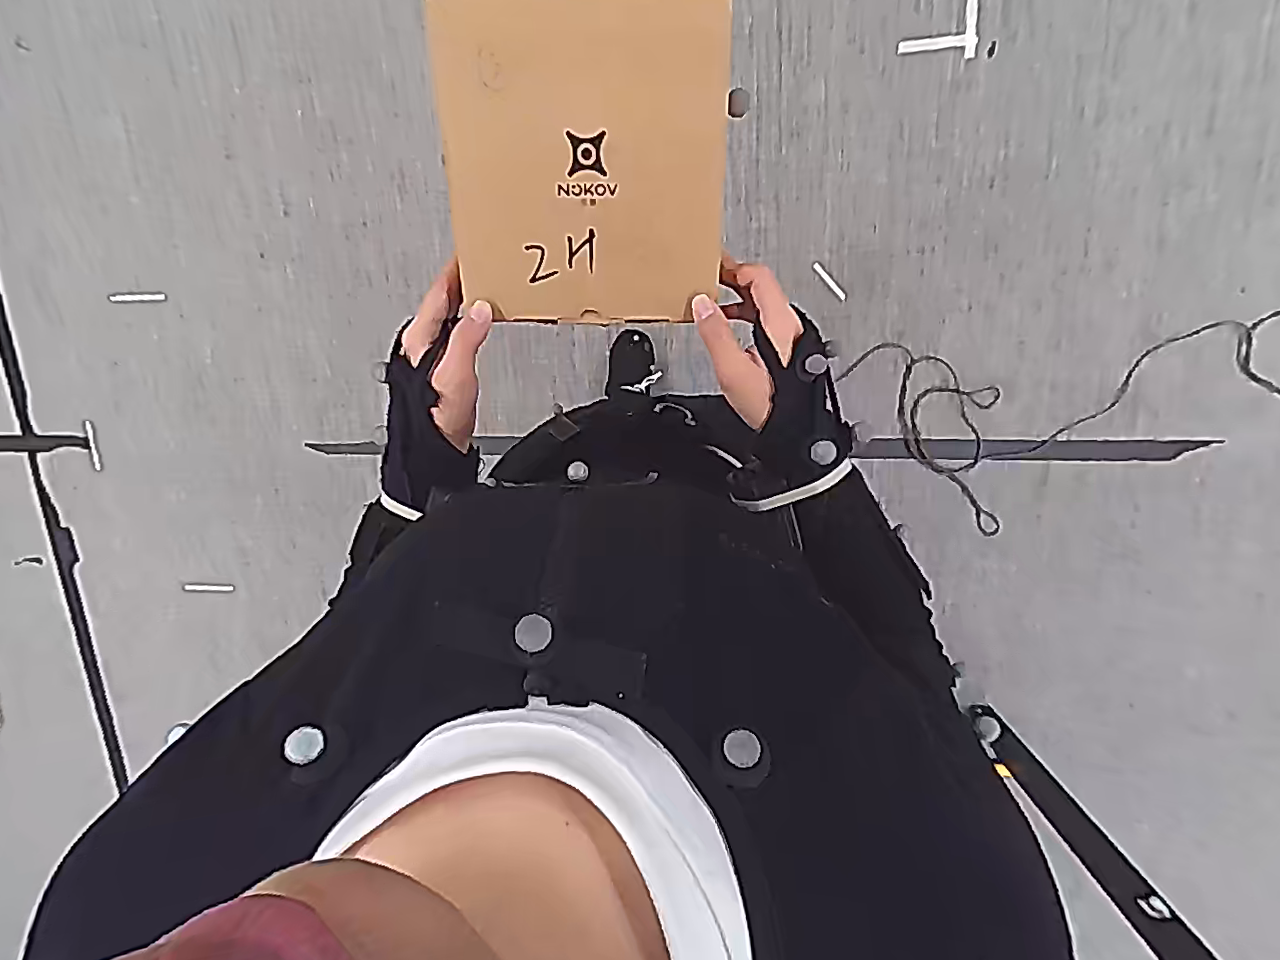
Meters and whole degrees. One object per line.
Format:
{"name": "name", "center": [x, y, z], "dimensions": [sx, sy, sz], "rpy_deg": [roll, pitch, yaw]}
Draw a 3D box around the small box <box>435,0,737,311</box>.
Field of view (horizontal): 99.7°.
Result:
{"name": "small box", "center": [-0.030, -0.221, 0.391], "dimensions": [0.168, 0.176, 0.179], "rpy_deg": [1, 113, 1]}
